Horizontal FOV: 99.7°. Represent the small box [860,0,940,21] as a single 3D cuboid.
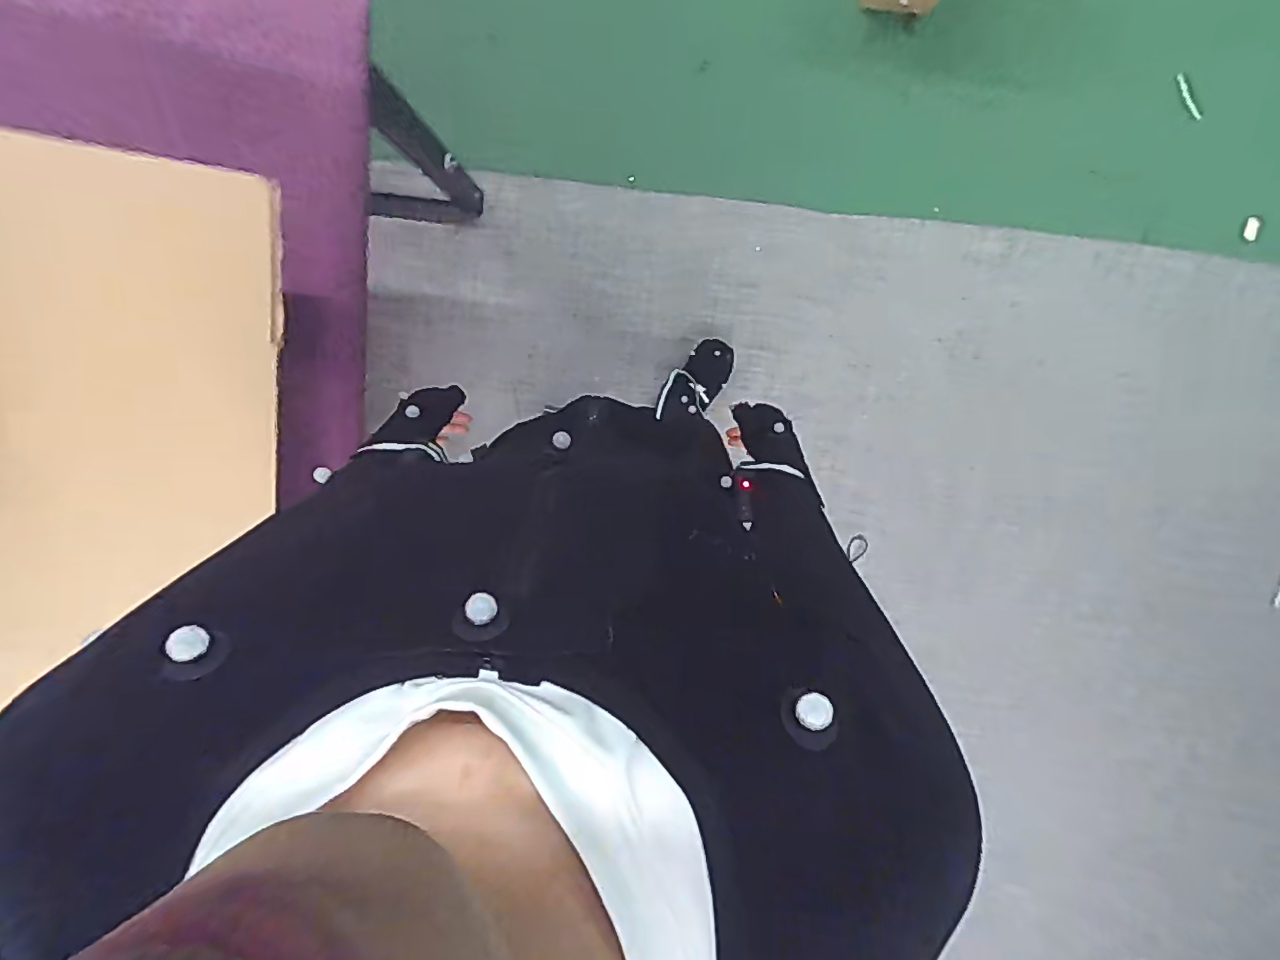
[{"bbox_3d":[0.599,-1.159,1.177,0.168,0.176,0.179,4,101,-2],"label":"small box"}]
